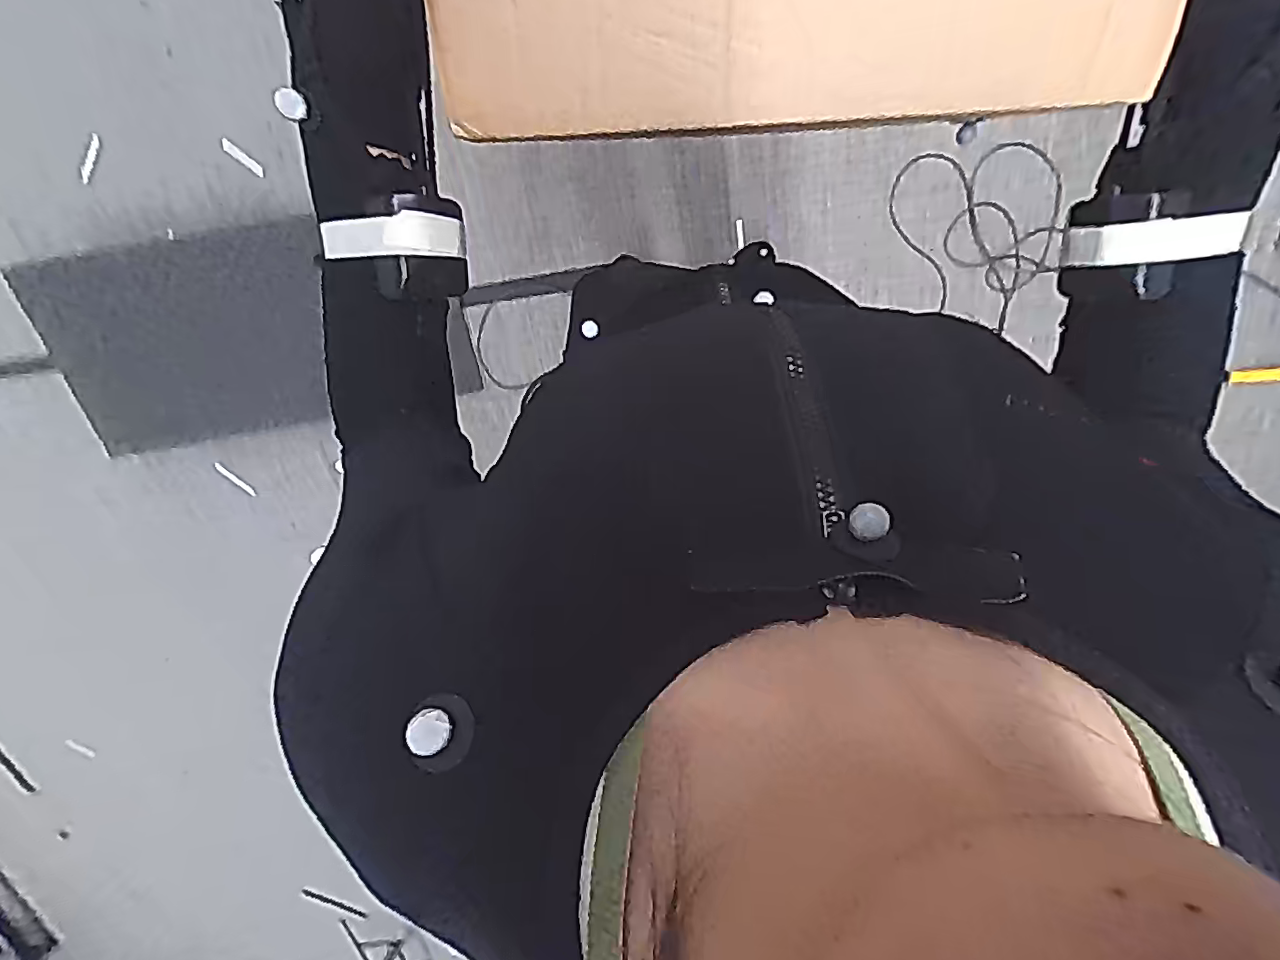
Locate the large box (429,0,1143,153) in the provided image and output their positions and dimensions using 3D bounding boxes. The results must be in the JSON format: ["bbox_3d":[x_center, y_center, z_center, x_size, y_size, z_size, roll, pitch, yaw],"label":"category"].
[{"bbox_3d":[0.078,-0.429,0.377,0.408,0.320,0.320,-2,121,5],"label":"large box"}]

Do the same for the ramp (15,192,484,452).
[{"bbox_3d":[-0.955,-0.391,1.392,0.991,0.206,0.509,-8,112,8],"label":"ramp"}]
